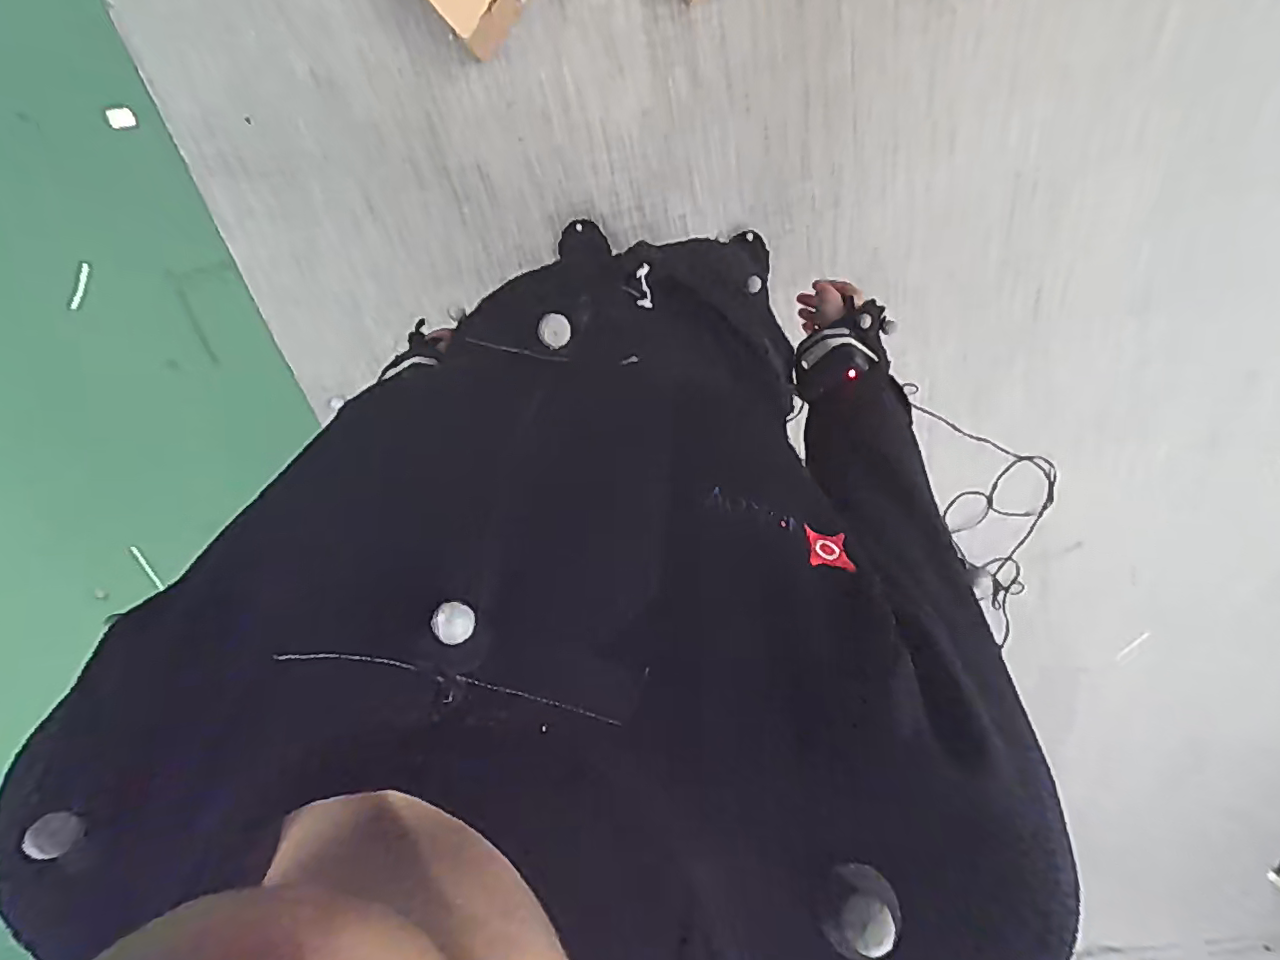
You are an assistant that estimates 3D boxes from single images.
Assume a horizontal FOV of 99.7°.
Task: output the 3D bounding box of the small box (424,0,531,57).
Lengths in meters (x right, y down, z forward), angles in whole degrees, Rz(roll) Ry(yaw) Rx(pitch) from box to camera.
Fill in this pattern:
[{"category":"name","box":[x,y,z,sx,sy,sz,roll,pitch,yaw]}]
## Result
[{"category":"small box","box":[-0.291,-0.850,0.896,0.179,0.176,0.168,41,107,-20]}]
